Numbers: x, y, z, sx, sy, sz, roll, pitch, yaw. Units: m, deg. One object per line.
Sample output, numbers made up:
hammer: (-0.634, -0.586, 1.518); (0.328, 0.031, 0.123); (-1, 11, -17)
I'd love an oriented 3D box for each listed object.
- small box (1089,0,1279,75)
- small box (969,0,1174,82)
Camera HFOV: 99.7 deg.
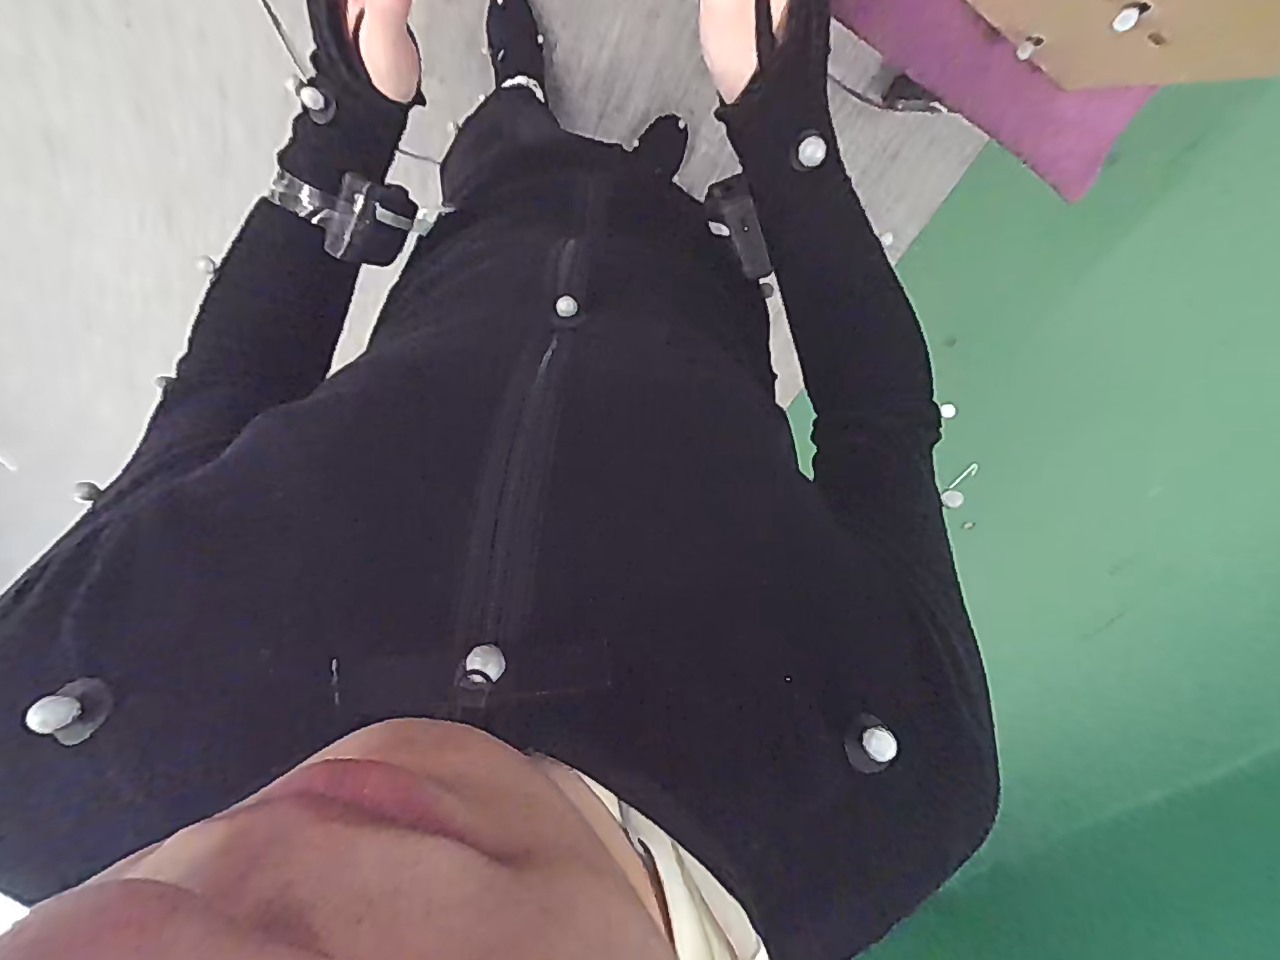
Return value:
small box: (0.444, -0.408, 0.353); (0.168, 0.176, 0.179); (27, 121, -14)
small box: (0.446, -0.499, 0.490); (0.179, 0.176, 0.168); (27, 121, -14)
